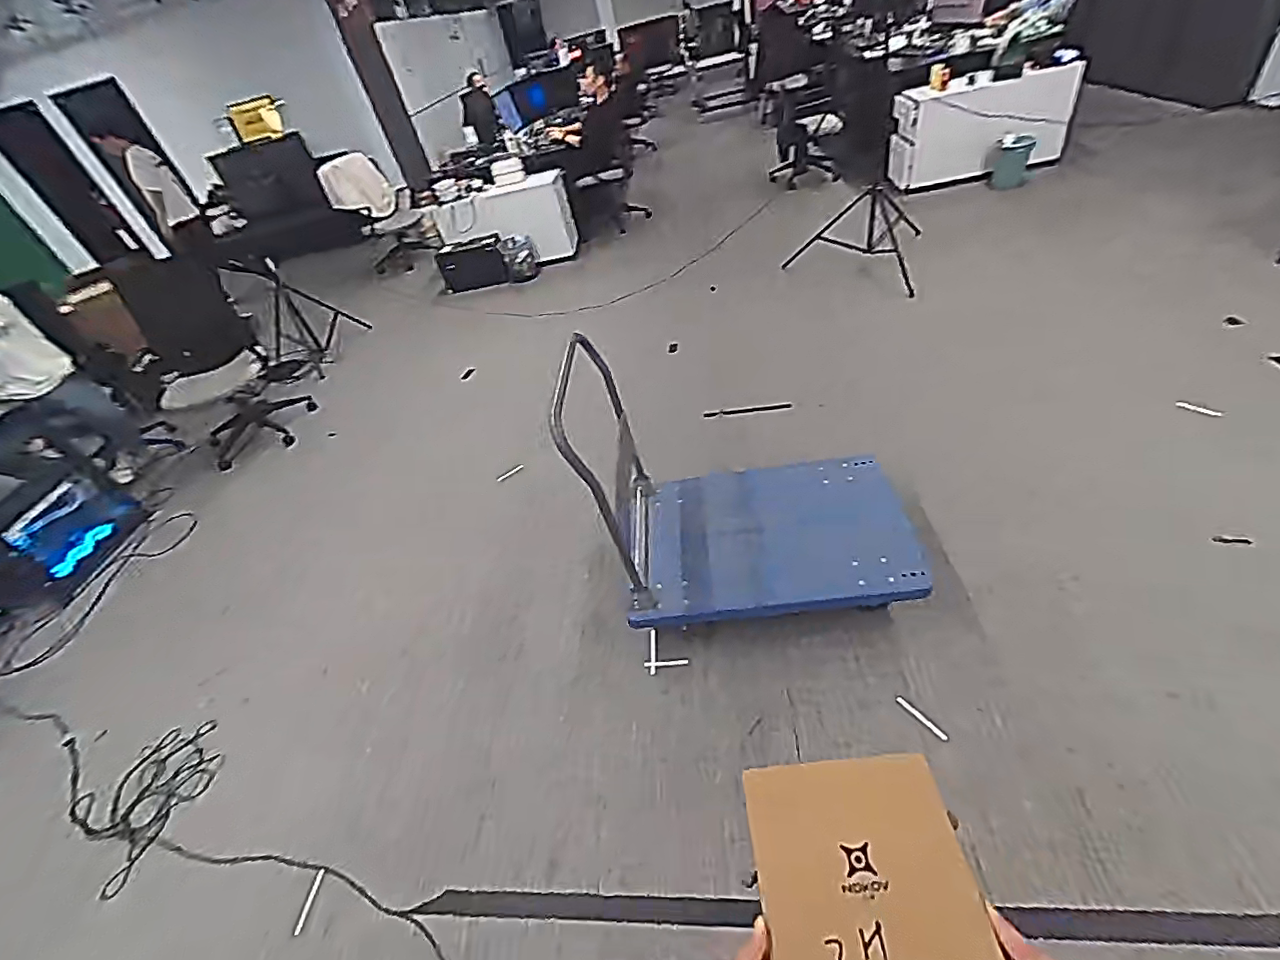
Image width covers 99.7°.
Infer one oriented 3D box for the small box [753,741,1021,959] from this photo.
[{"bbox_3d":[0.199,0.364,0.482,0.168,0.176,0.179,-10,39,7],"label":"small box"}]
